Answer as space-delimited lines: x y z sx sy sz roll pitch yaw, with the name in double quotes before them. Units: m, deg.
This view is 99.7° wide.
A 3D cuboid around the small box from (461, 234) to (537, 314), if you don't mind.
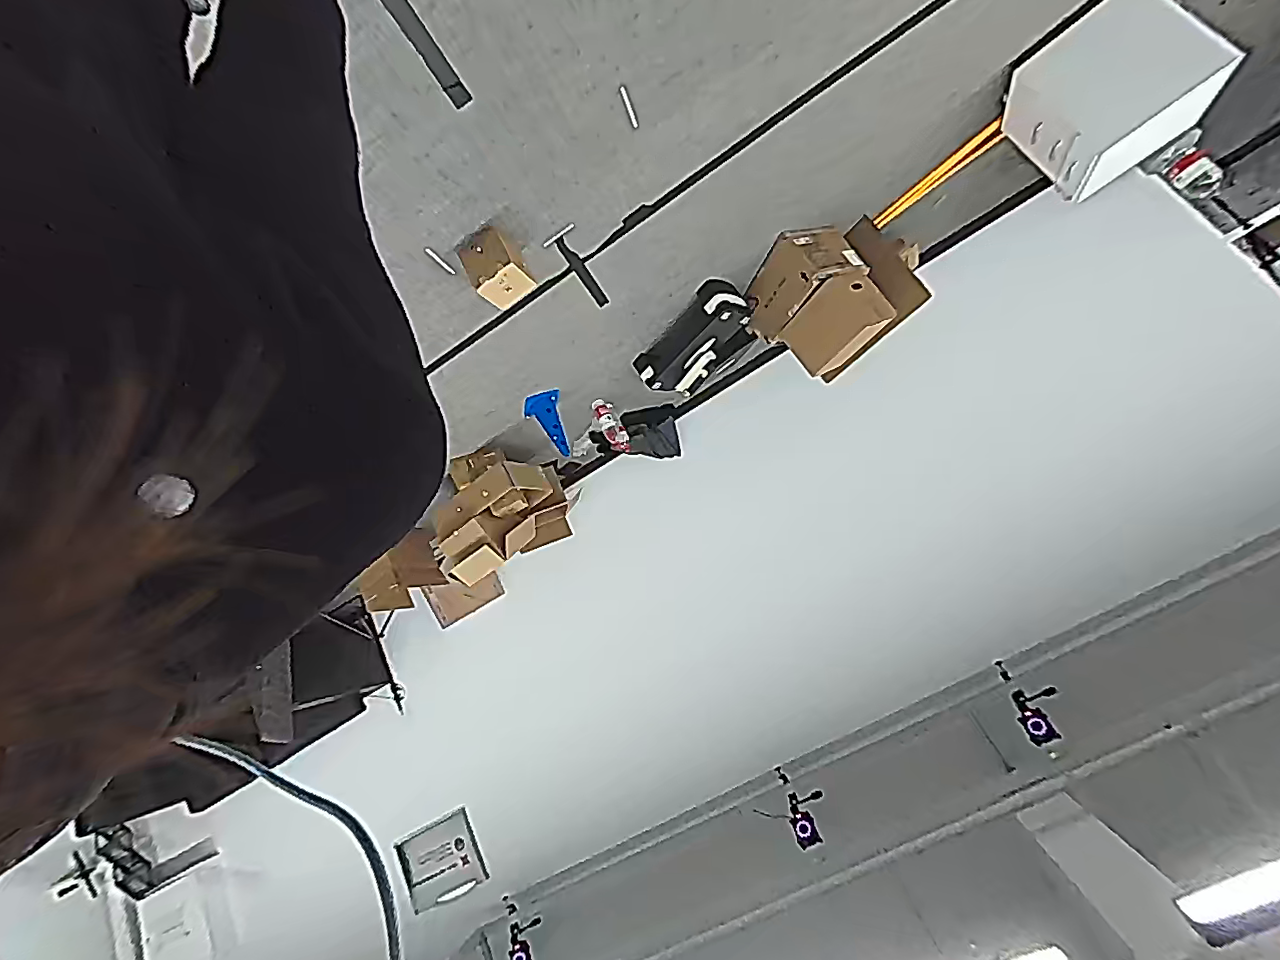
"small box" -0.504 -0.736 1.930 0.168 0.176 0.179 -32 162 13
